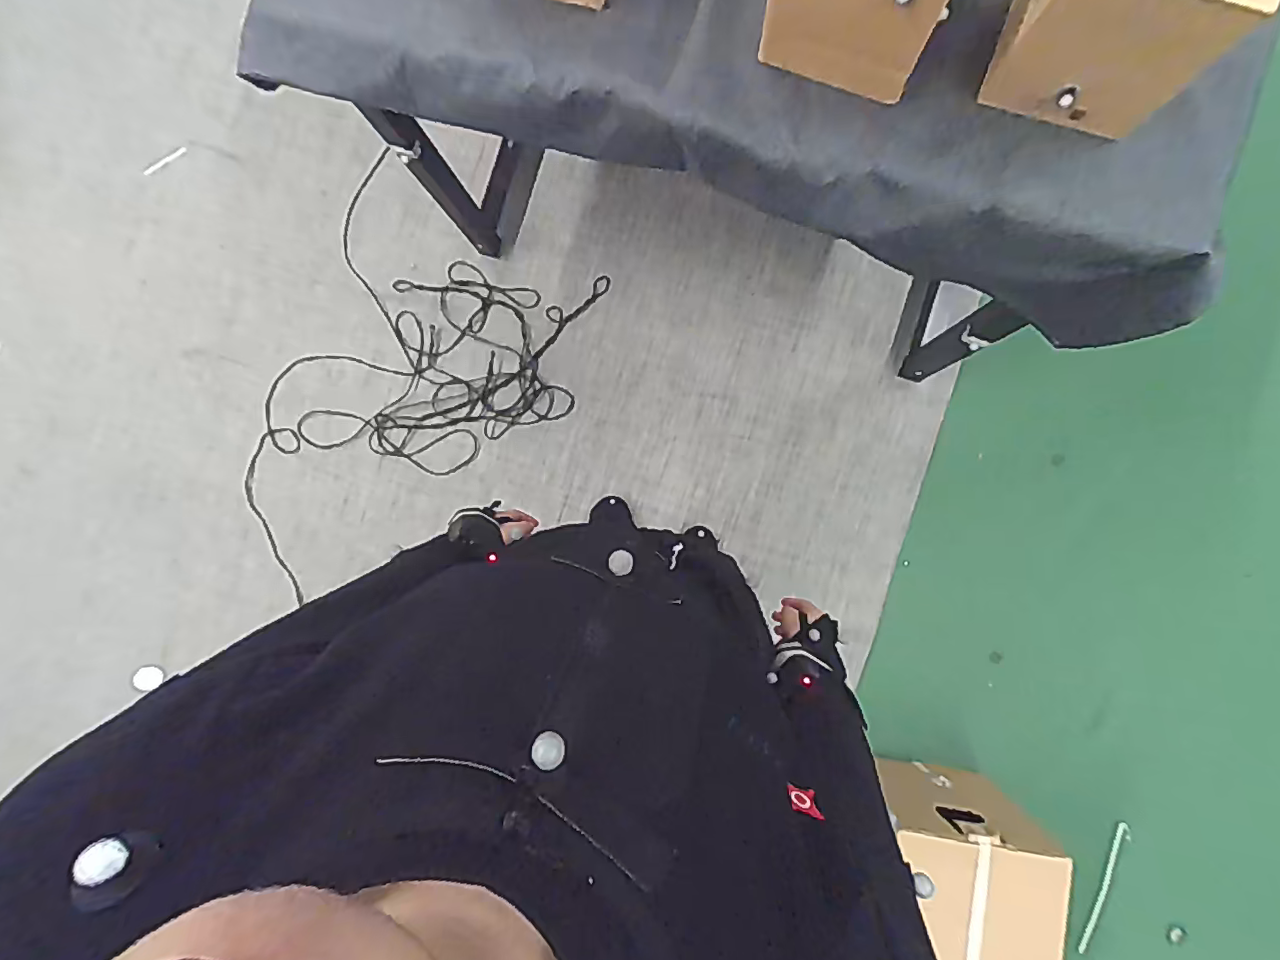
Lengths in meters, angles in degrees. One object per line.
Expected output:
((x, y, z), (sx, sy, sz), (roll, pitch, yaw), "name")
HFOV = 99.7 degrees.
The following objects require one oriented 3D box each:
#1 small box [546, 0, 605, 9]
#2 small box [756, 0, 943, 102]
((-0.111, -0.679, 0.595), (0.179, 0.176, 0.168), (18, 90, 4), "small box")
((0.237, -0.546, 0.565), (0.179, 0.176, 0.168), (22, 88, 4), "small box")
